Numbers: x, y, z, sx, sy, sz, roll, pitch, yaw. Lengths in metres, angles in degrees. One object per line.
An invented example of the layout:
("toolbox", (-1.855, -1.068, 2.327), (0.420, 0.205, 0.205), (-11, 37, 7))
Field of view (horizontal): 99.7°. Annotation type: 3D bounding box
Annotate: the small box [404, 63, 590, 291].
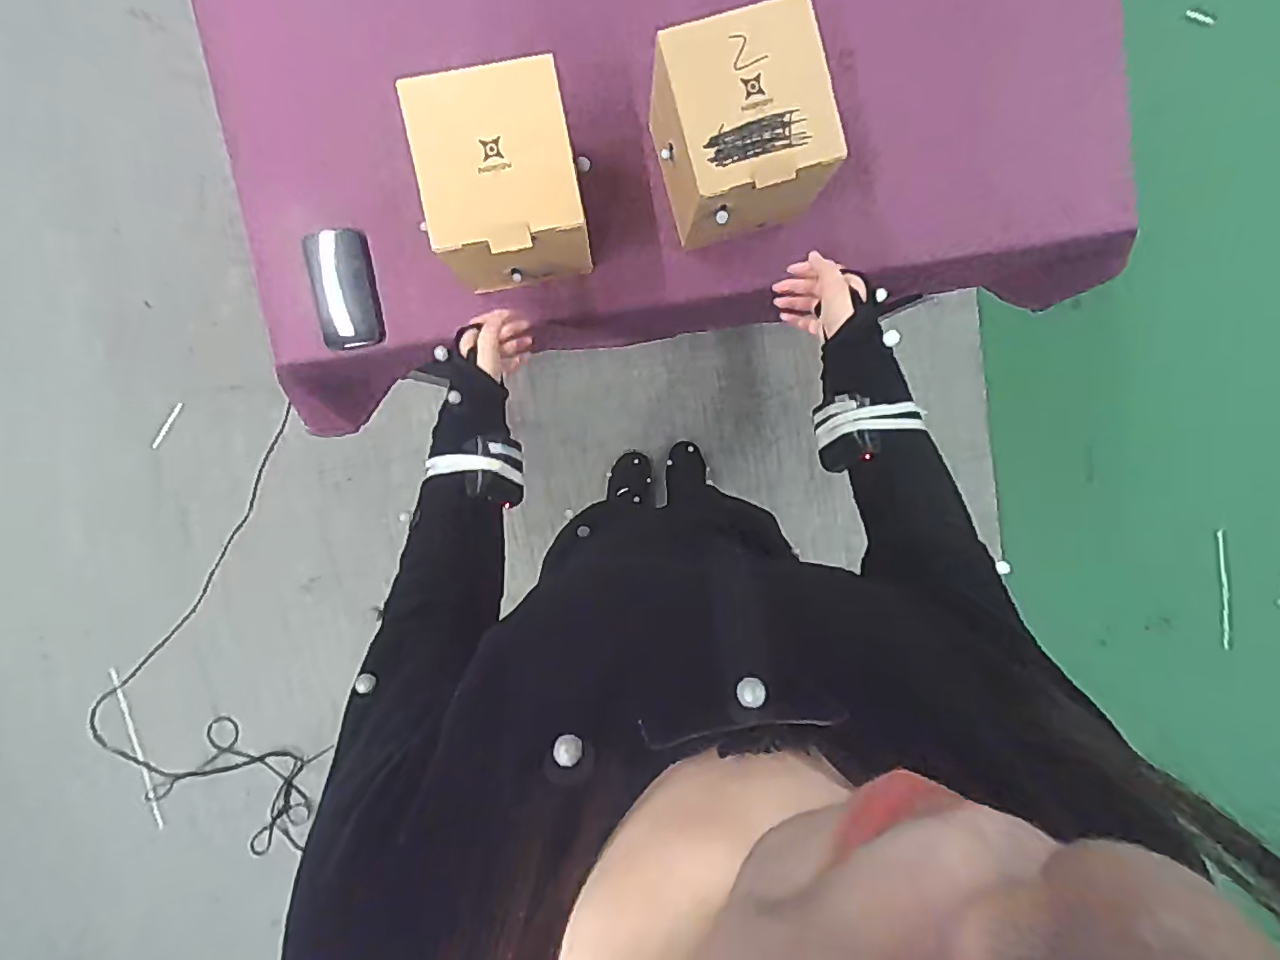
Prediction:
("small box", (-0.157, -0.348, 0.652), (0.168, 0.176, 0.179), (-11, 96, -1))
